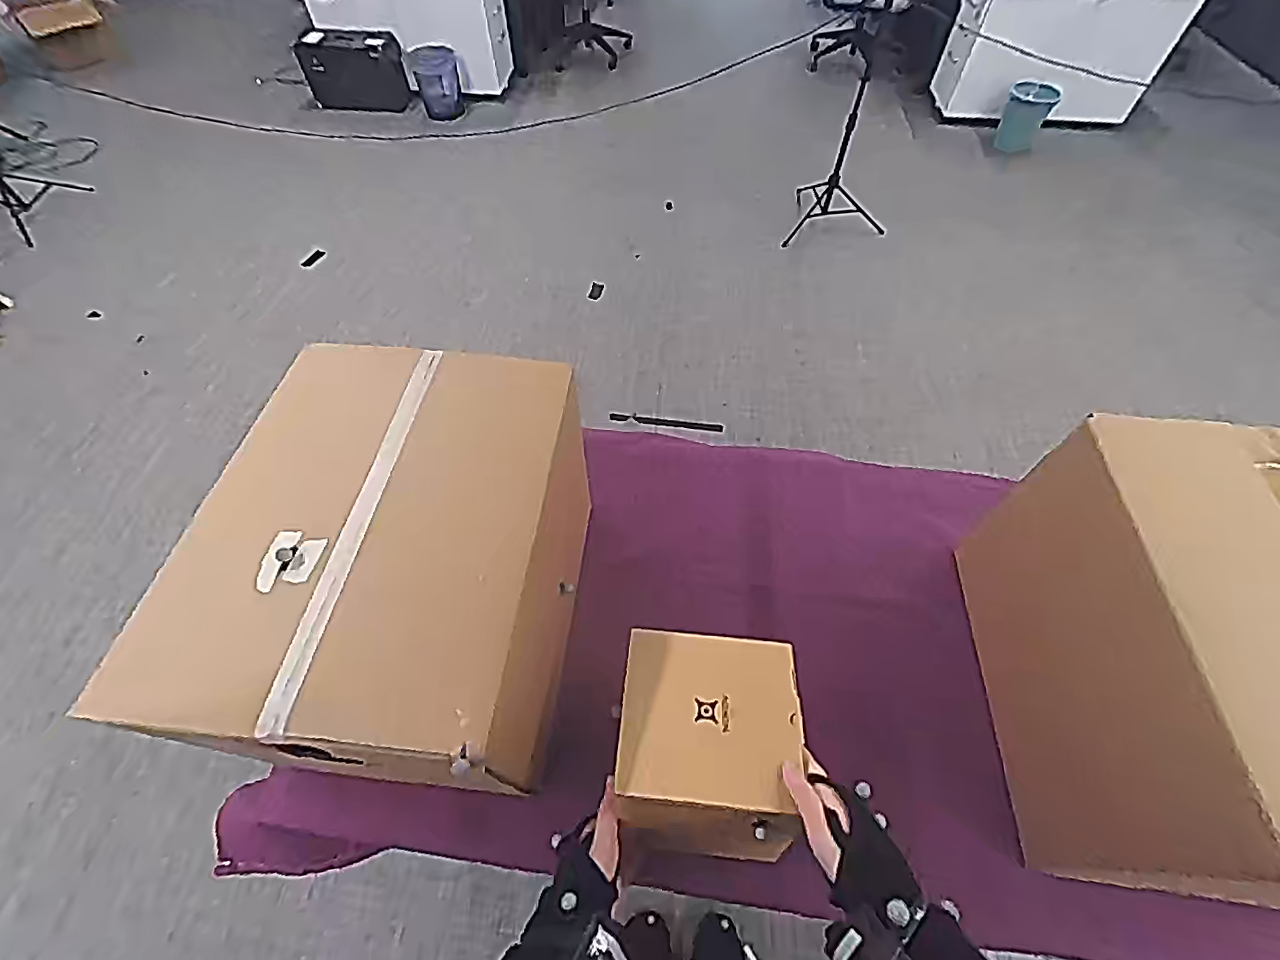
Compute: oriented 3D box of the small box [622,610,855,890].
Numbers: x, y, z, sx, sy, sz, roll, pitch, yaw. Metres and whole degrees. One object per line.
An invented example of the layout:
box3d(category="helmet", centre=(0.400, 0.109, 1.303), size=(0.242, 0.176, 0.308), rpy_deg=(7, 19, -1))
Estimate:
box3d(category="small box", centre=(0.086, 0.263, 0.545), size=(0.168, 0.176, 0.179), rpy_deg=(18, 25, -11))
